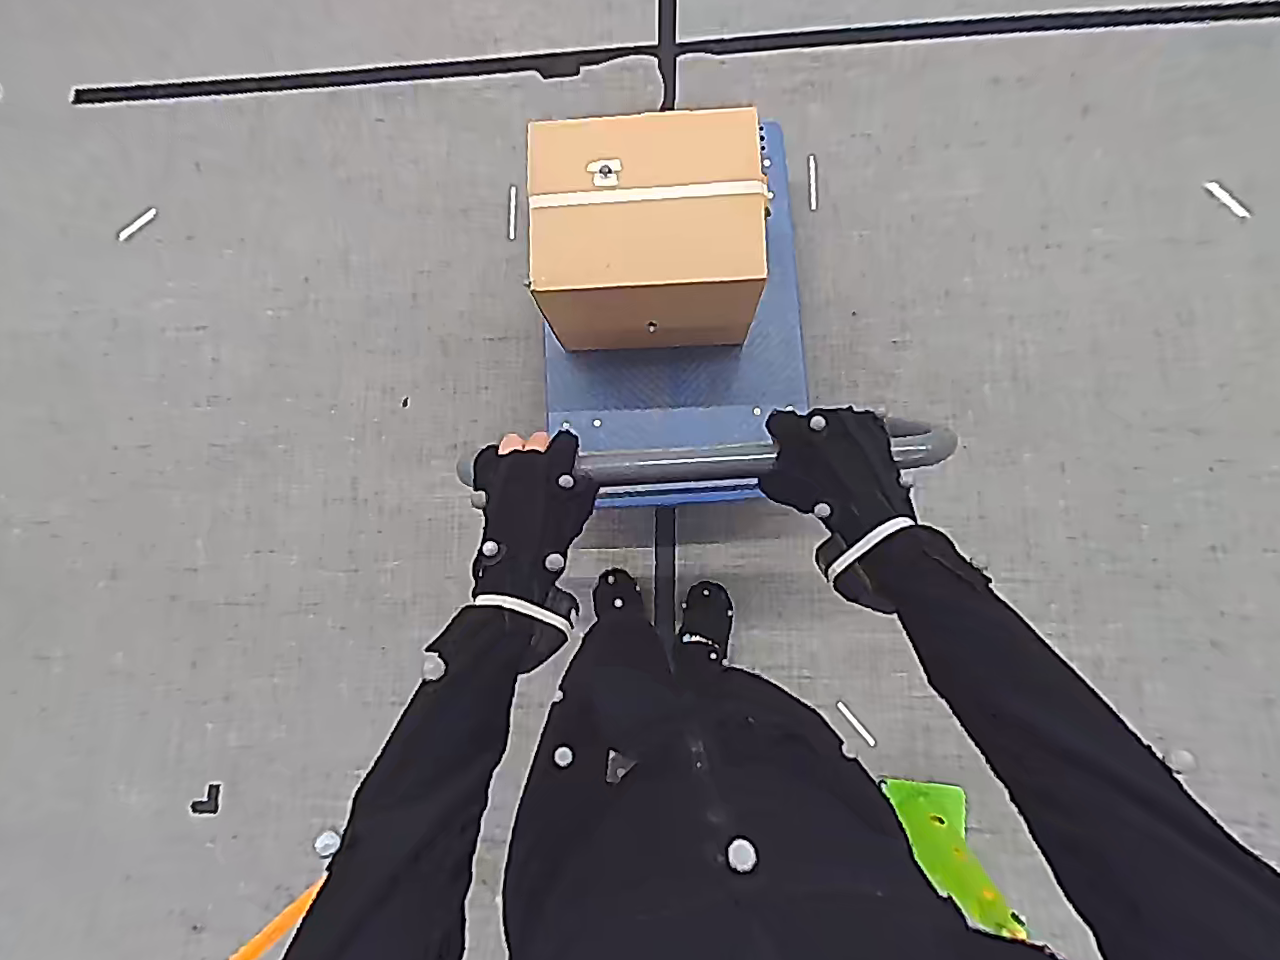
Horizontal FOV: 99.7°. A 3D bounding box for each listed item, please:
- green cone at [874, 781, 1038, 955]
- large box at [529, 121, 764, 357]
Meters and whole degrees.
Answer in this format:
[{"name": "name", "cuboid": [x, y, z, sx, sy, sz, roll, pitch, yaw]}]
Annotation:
[{"name": "green cone", "cuboid": [0.619, 0.764, 1.041, 0.202, 0.368, 0.200, 3, 83, 3]}, {"name": "large box", "cuboid": [0.018, -0.451, 1.087, 0.408, 0.320, 0.320, -2, 84, 4]}]
